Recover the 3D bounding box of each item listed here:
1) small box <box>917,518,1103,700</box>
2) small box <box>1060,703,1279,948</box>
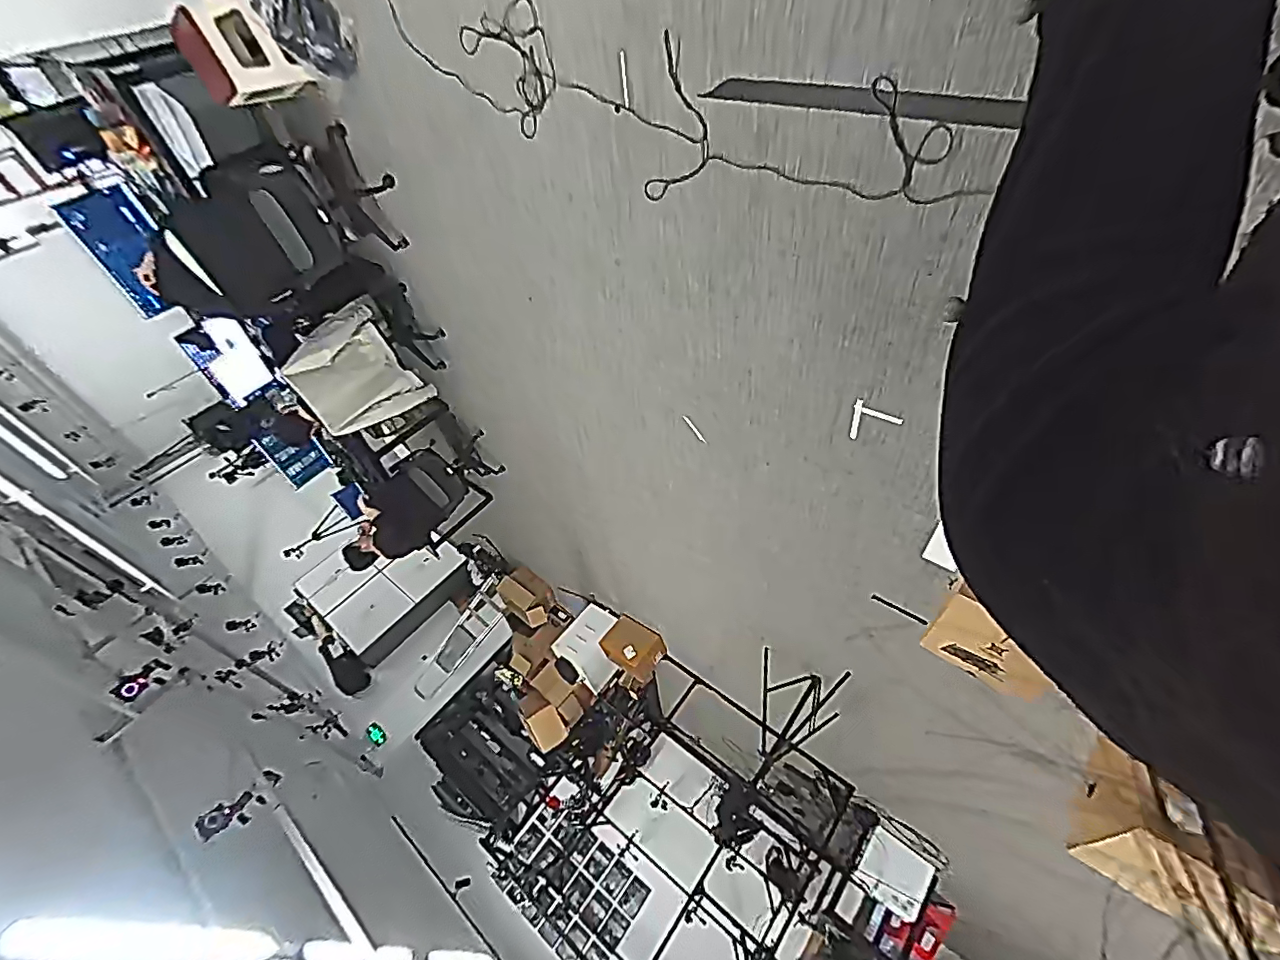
[{"bbox_3d":[0.562,0.194,0.828,0.168,0.176,0.179,29,147,26],"label":"small box"},{"bbox_3d":[0.654,0.406,0.646,0.168,0.176,0.179,27,147,29],"label":"small box"}]
